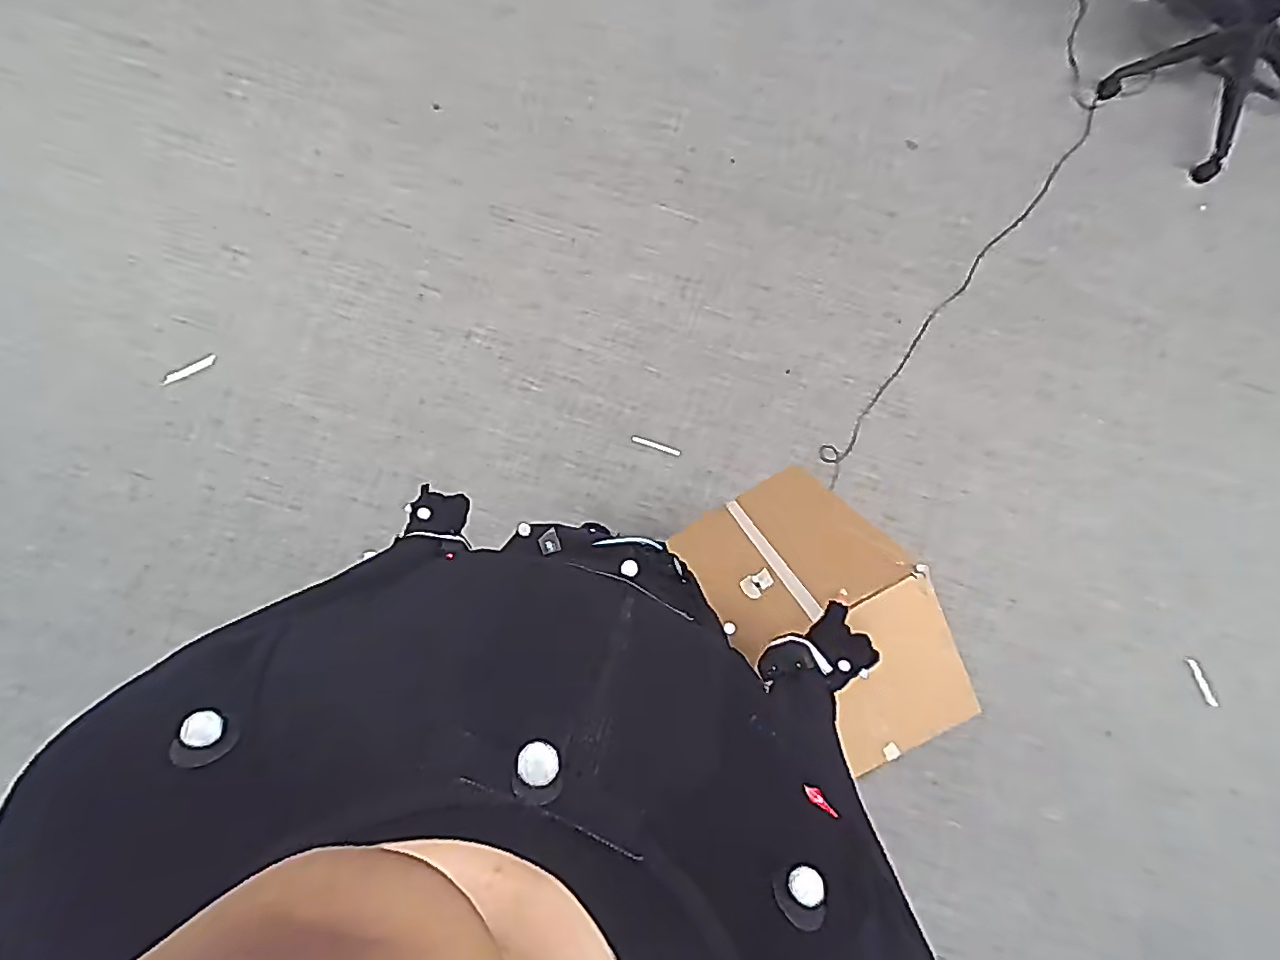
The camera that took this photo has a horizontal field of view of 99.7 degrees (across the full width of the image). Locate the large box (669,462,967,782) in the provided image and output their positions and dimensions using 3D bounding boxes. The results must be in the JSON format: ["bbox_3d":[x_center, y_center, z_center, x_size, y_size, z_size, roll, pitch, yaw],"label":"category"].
[{"bbox_3d":[0.292,0.229,0.982,0.320,0.408,0.320,-31,115,4],"label":"large box"}]
